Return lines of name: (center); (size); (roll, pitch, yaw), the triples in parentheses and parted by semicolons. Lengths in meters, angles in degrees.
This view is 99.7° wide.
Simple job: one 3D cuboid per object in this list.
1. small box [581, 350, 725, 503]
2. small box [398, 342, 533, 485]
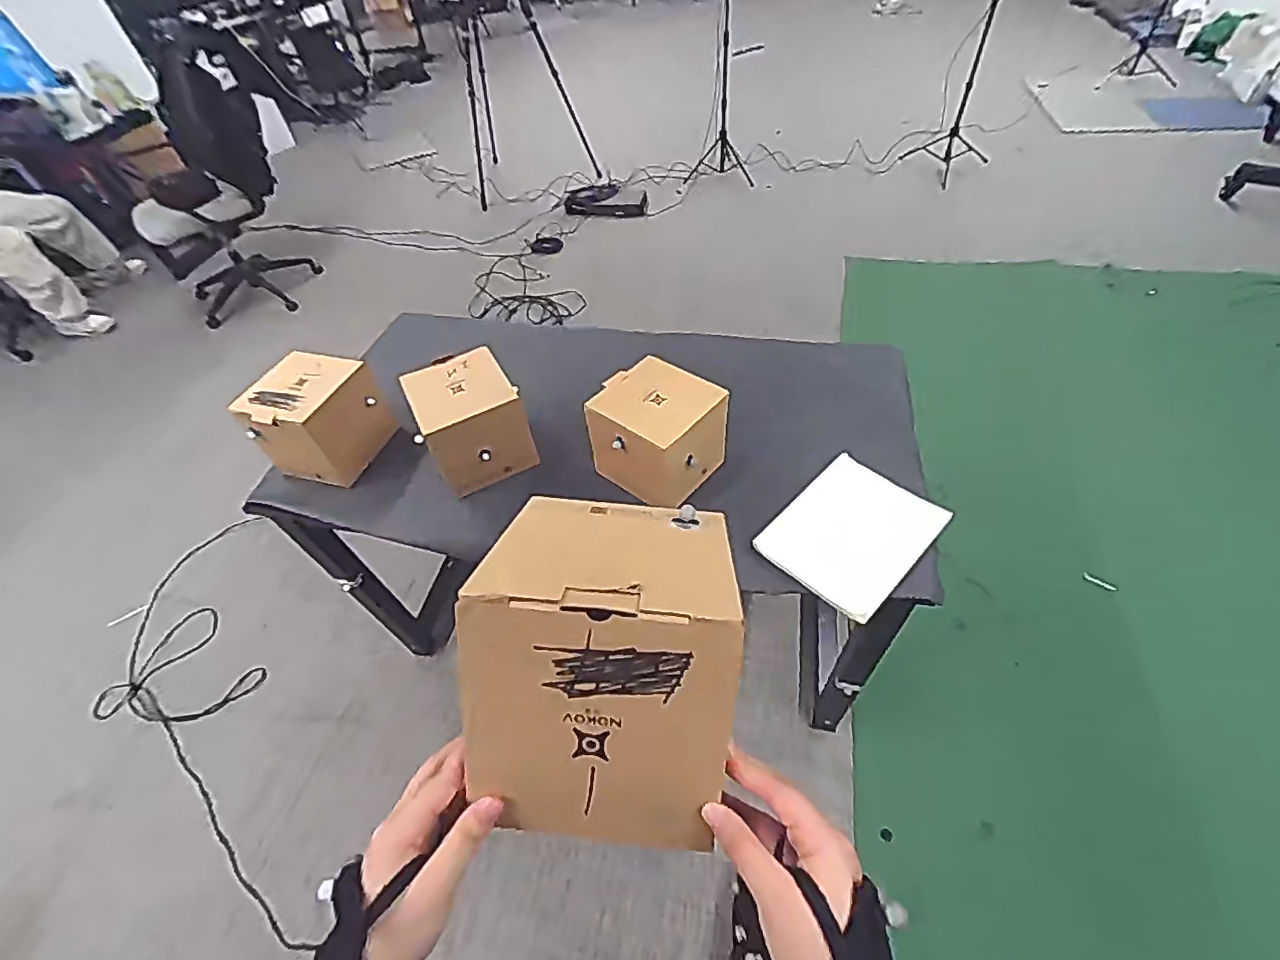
small box: (0.027, -0.086, 0.928); (0.179, 0.176, 0.168); (31, 59, 29)
small box: (-0.311, -0.113, 0.985); (0.168, 0.176, 0.179); (-25, 52, -15)
